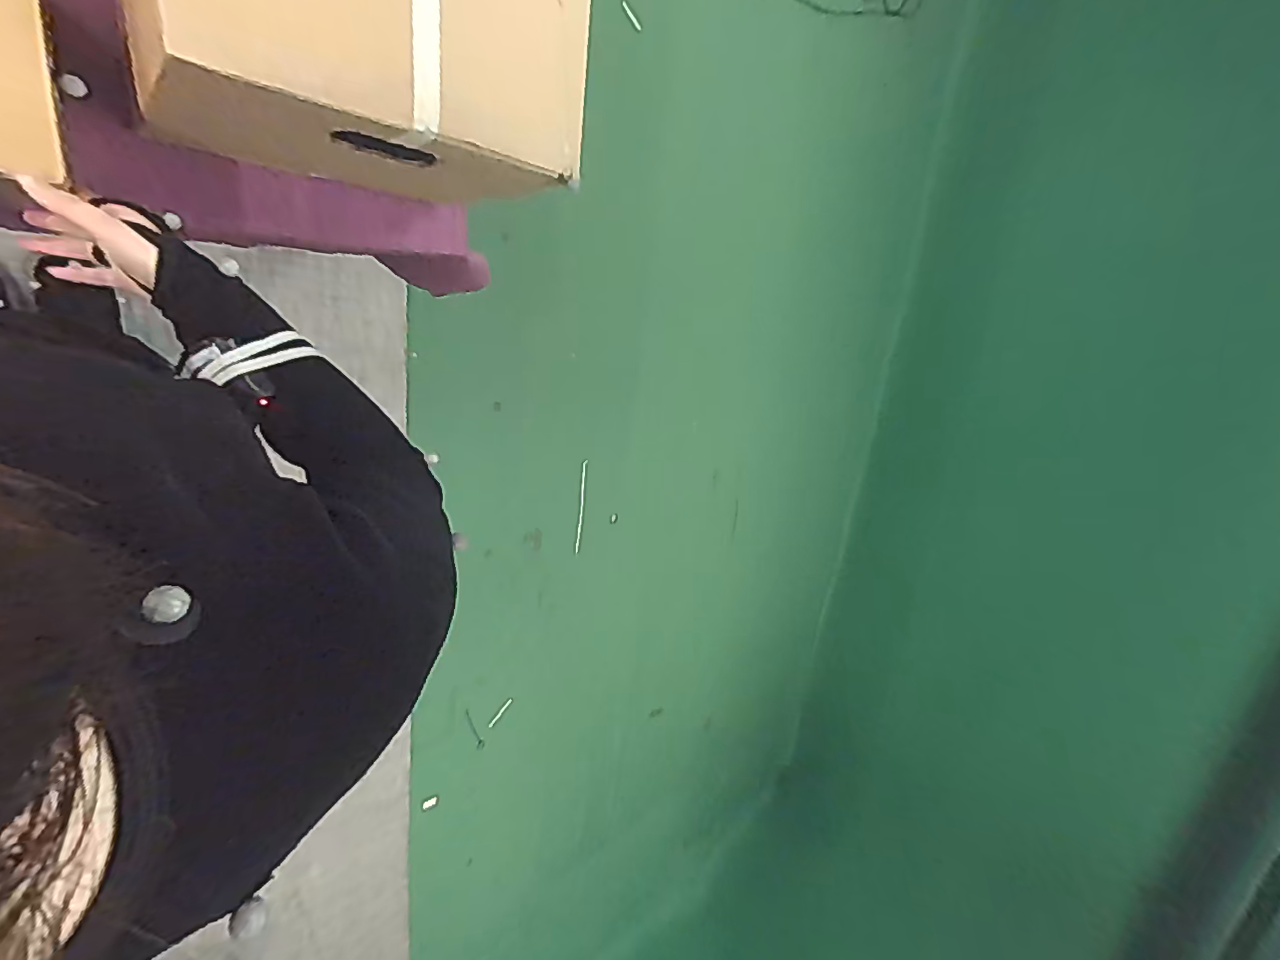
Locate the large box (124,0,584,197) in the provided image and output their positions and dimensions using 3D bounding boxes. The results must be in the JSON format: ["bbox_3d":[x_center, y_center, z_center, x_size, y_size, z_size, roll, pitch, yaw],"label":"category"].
[{"bbox_3d":[-0.259,-0.513,0.483,0.320,0.320,0.408,-10,114,-44],"label":"large box"}]
